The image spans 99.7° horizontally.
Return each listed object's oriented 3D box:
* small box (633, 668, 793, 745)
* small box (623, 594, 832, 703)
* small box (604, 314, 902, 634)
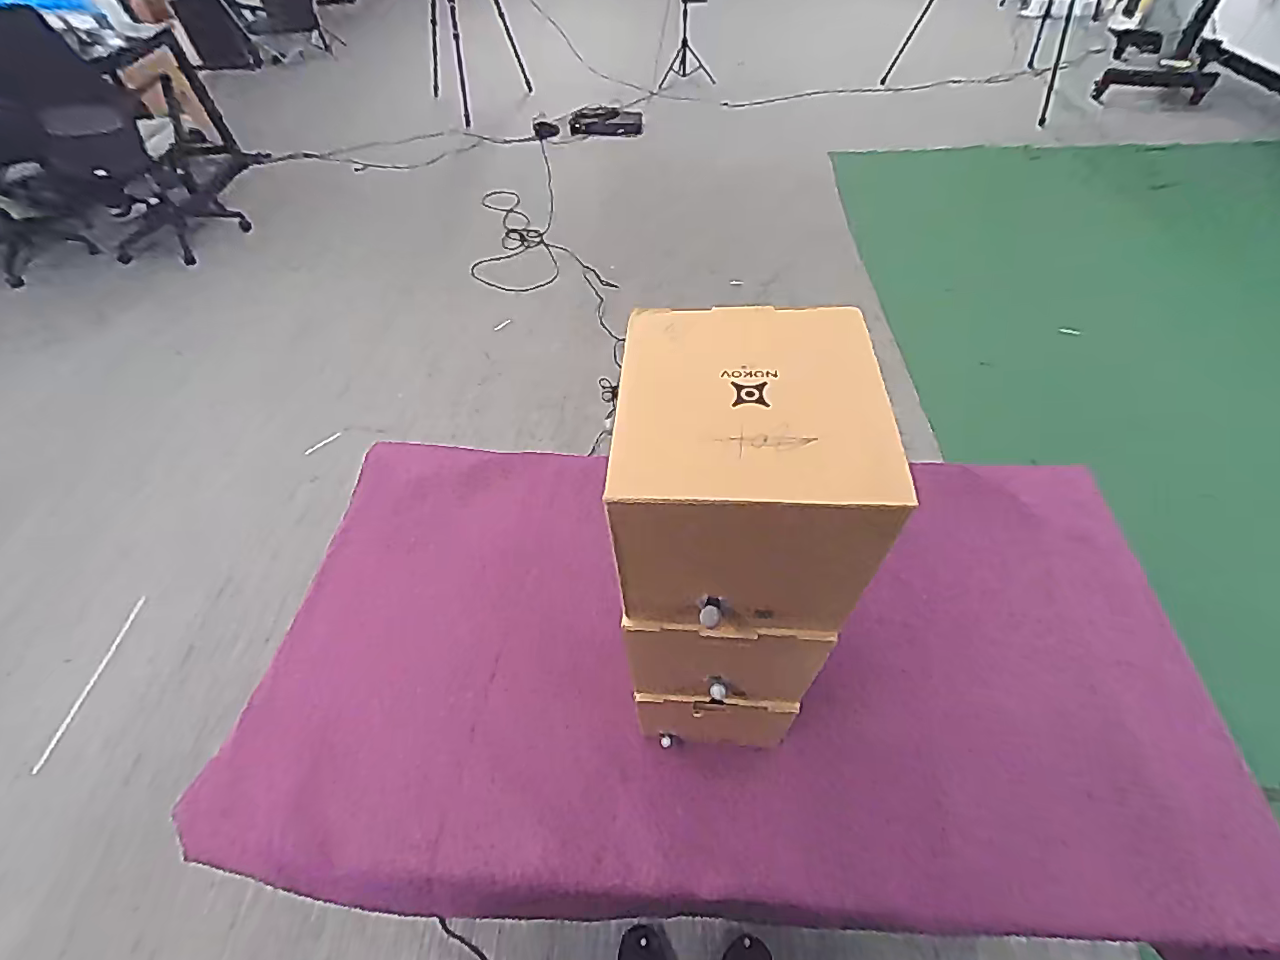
[{"bbox_3d":[0.086,0.209,0.658,0.168,0.176,0.179,2,51,5],"label":"small box"},{"bbox_3d":[0.078,0.101,0.535,0.168,0.176,0.179,2,52,5],"label":"small box"},{"bbox_3d":[0.070,-0.003,0.410,0.168,0.176,0.179,1,52,5],"label":"small box"}]
